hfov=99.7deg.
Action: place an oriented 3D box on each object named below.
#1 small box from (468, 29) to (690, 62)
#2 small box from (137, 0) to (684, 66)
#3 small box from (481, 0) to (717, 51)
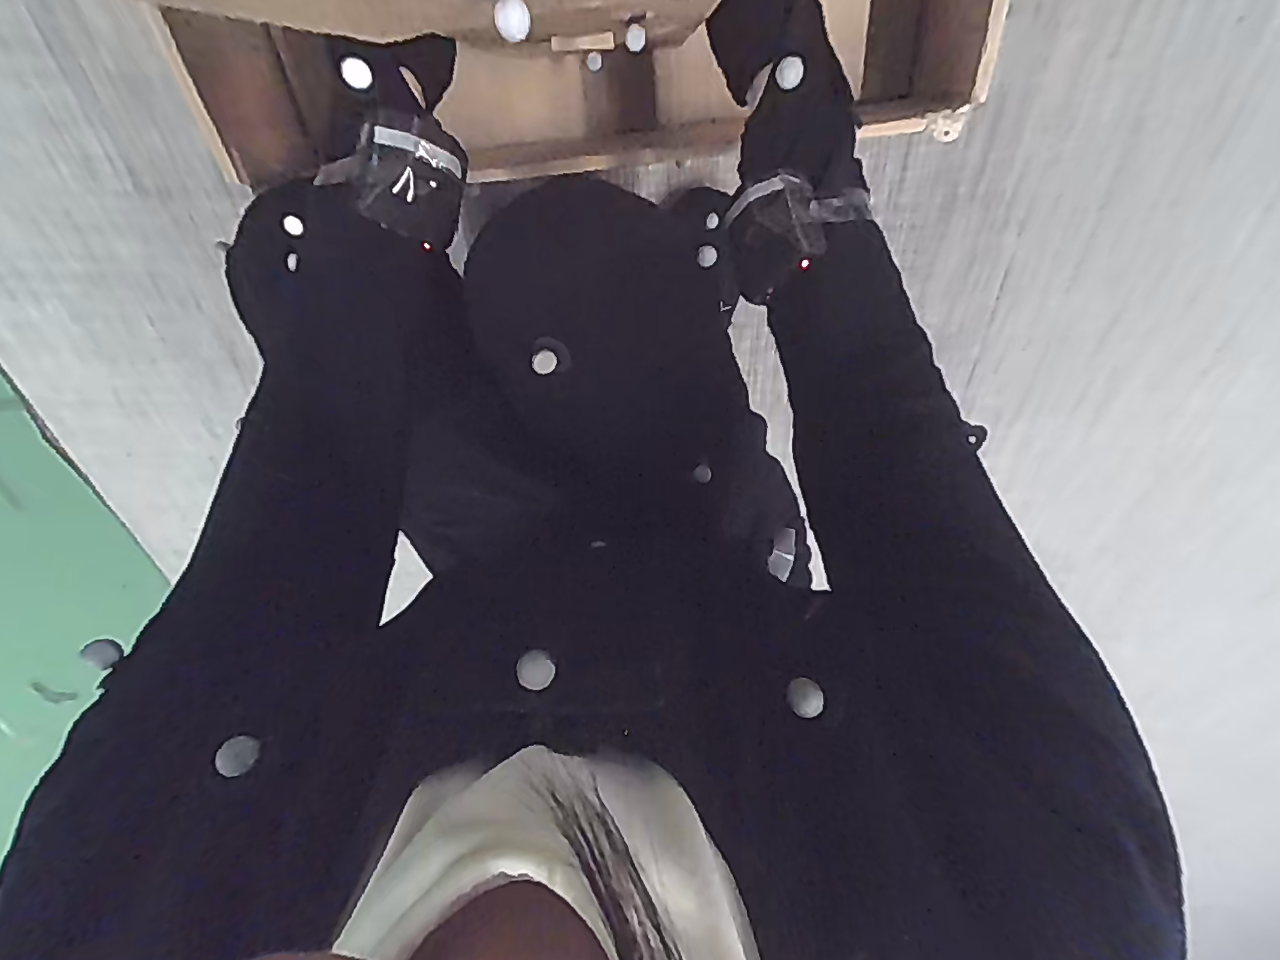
[{"bbox_3d":[-0.045,-0.424,0.401,0.168,0.176,0.179,-2,126,2],"label":"small box"},{"bbox_3d":[-0.046,-0.227,0.140,0.179,0.176,0.168,-9,126,6],"label":"small box"},{"bbox_3d":[-0.047,-0.330,0.268,0.168,0.176,0.179,-3,125,2],"label":"small box"}]
